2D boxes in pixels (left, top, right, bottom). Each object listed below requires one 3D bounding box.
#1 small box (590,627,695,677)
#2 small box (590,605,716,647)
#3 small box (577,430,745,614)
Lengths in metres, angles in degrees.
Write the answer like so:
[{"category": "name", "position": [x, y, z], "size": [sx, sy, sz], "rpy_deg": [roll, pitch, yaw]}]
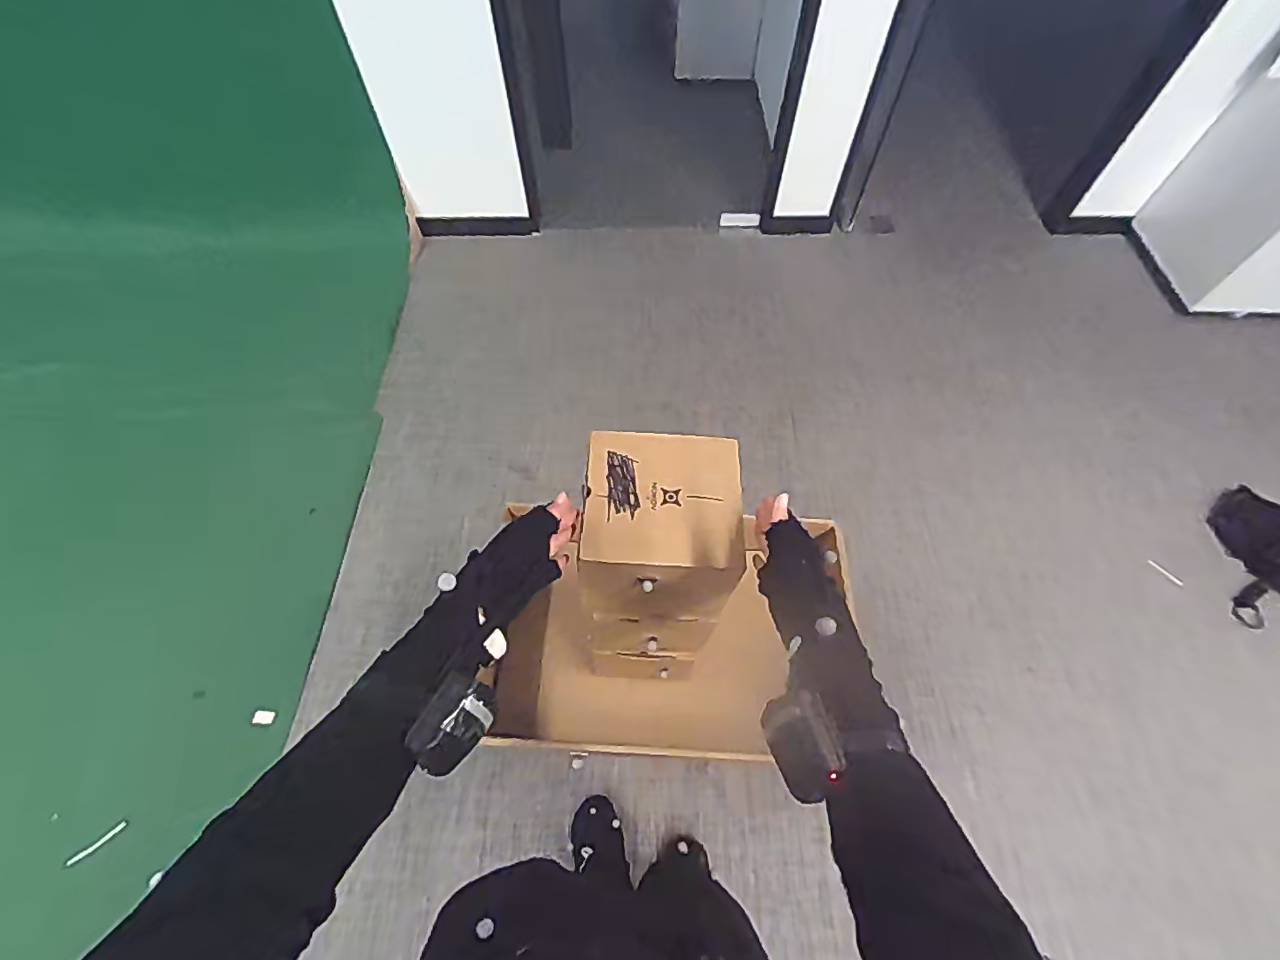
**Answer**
[{"category": "small box", "position": [0.005, 0.234, 0.938], "size": [0.168, 0.176, 0.179], "rpy_deg": [4, 58, -1]}, {"category": "small box", "position": [0.016, 0.145, 0.801], "size": [0.168, 0.176, 0.179], "rpy_deg": [2, 60, -3]}, {"category": "small box", "position": [0.021, 0.058, 0.660], "size": [0.179, 0.176, 0.168], "rpy_deg": [4, 59, -2]}]
